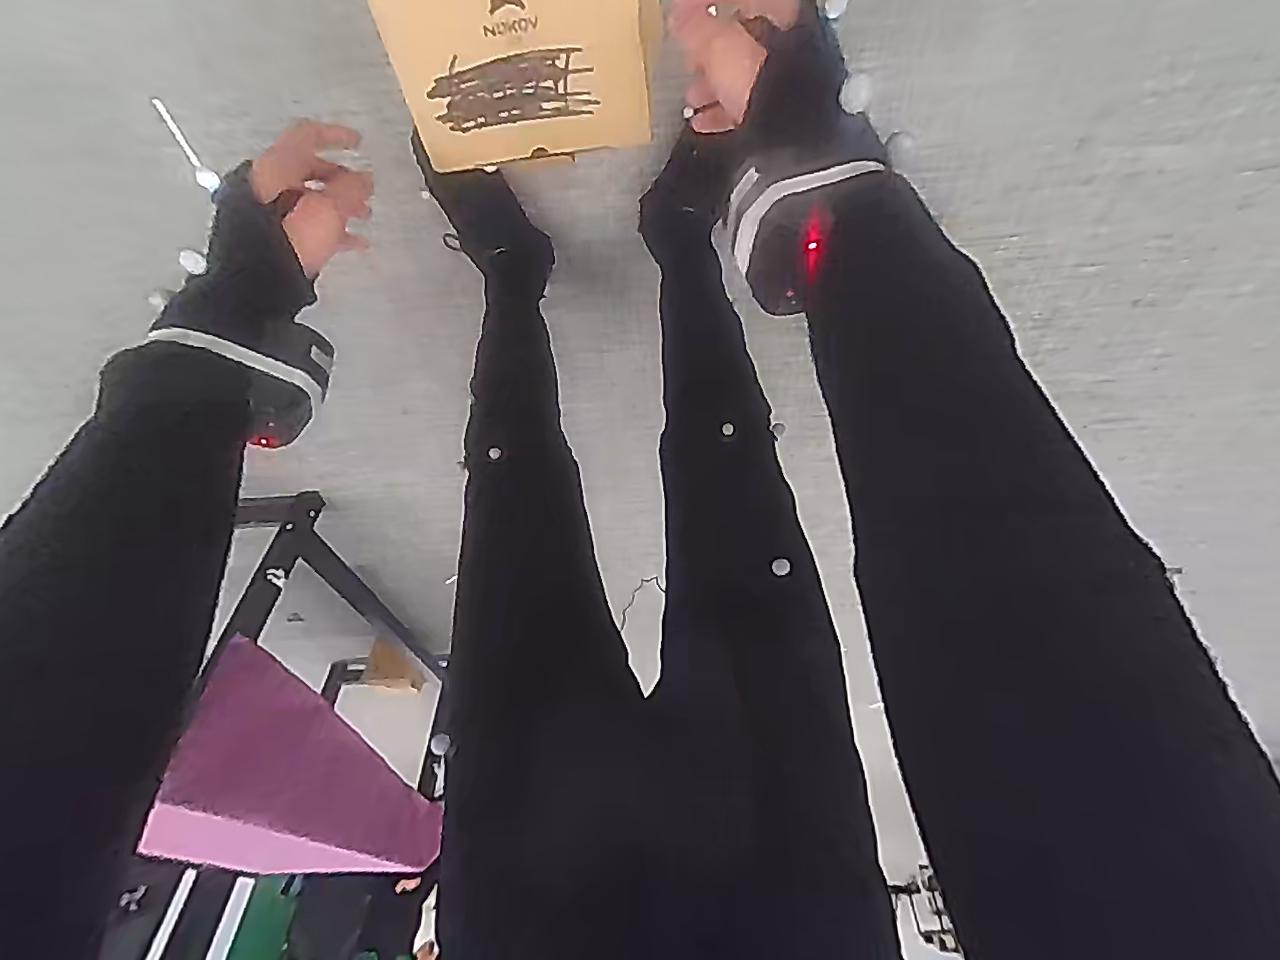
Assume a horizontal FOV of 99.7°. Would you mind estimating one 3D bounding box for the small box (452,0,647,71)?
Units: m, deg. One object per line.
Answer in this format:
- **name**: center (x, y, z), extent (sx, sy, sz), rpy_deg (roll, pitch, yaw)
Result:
- **small box**: center (-0.077, -0.488, 0.474), extent (0.168, 0.176, 0.179), rpy_deg (0, 142, 0)
